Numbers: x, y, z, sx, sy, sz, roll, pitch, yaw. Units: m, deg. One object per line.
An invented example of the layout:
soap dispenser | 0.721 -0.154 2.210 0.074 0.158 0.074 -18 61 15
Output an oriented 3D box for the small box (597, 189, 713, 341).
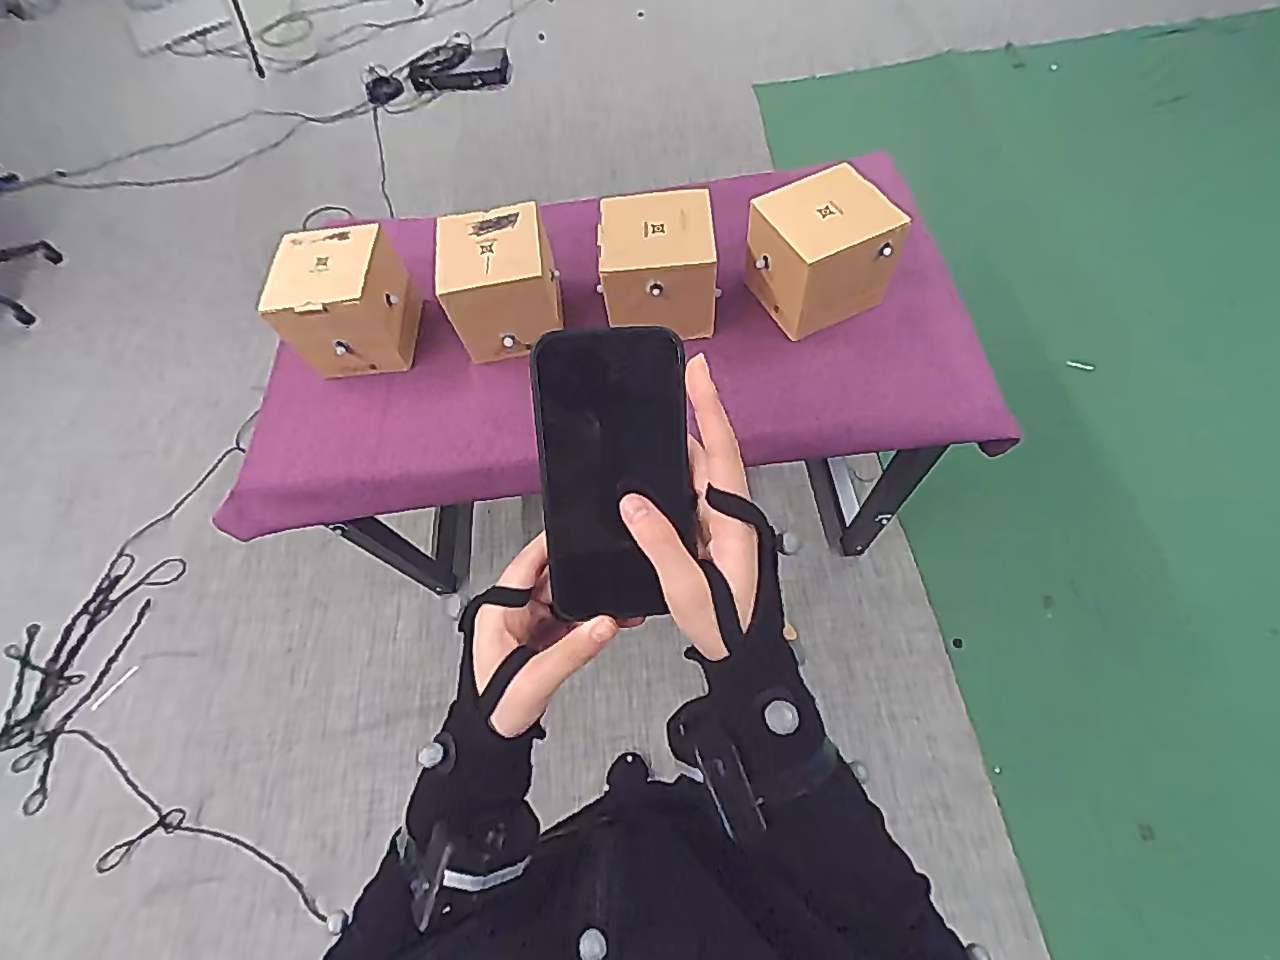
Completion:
small box | 0.030 -0.349 0.898 0.179 0.176 0.168 -3 64 4

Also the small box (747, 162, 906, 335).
small box | 0.287 -0.368 0.880 0.179 0.176 0.168 -25 63 -7

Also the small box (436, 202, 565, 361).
small box | -0.229 -0.331 0.915 0.168 0.176 0.179 -10 63 1

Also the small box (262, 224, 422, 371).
small box | -0.495 -0.302 0.929 0.168 0.176 0.179 -5 63 3
